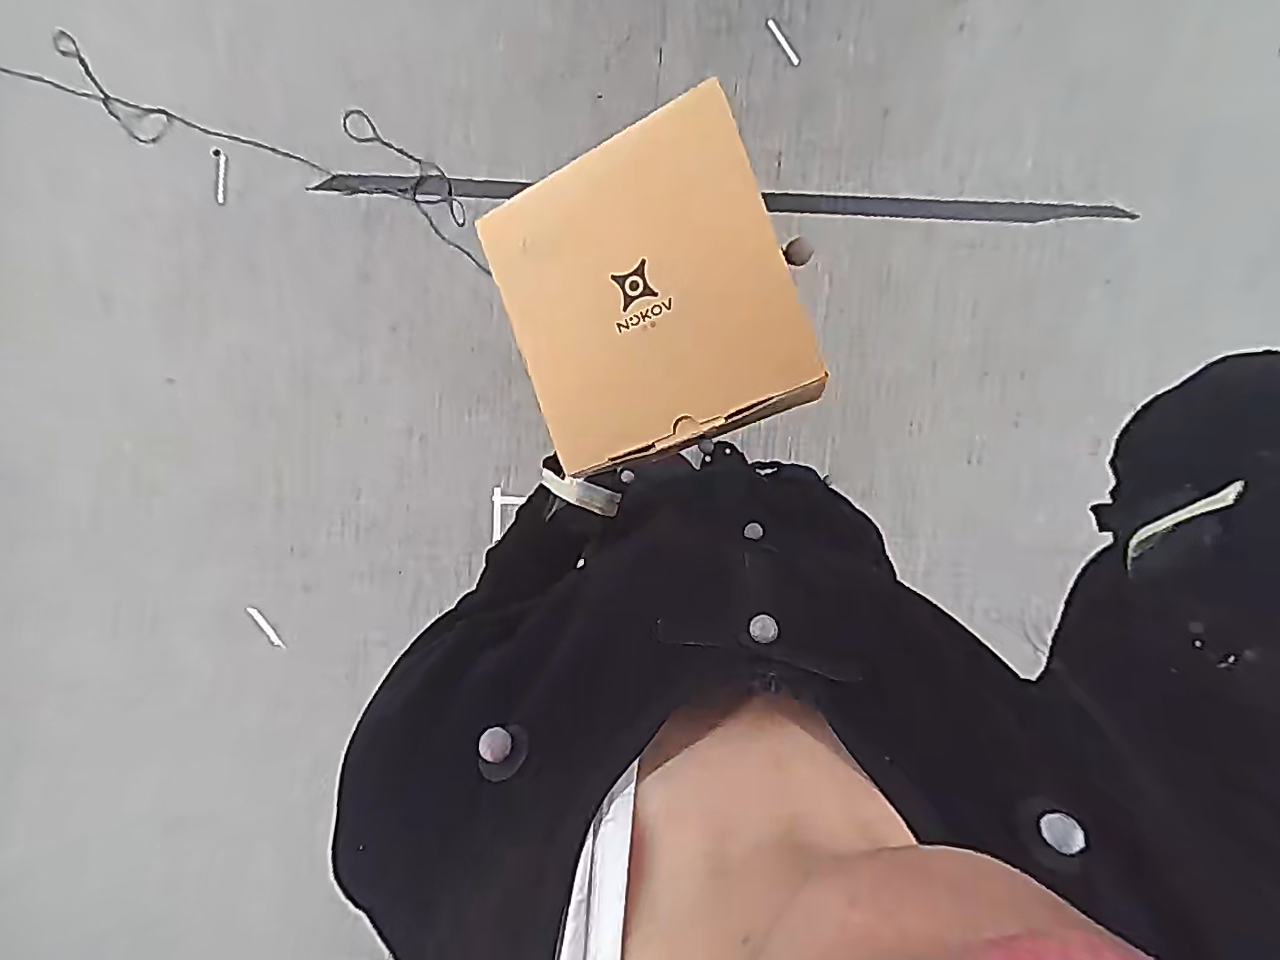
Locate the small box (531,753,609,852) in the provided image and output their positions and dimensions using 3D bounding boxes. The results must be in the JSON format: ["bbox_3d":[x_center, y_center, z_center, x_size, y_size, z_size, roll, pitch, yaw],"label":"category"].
[{"bbox_3d":[-0.183,0.860,1.454,0.179,0.176,0.168,-2,93,6],"label":"small box"}]

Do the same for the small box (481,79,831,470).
[{"bbox_3d":[0.023,-0.119,0.390,0.168,0.176,0.179,-21,90,18],"label":"small box"}]

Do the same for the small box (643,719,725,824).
[{"bbox_3d":[0.113,0.755,1.421,0.179,0.176,0.168,12,92,3],"label":"small box"}]
